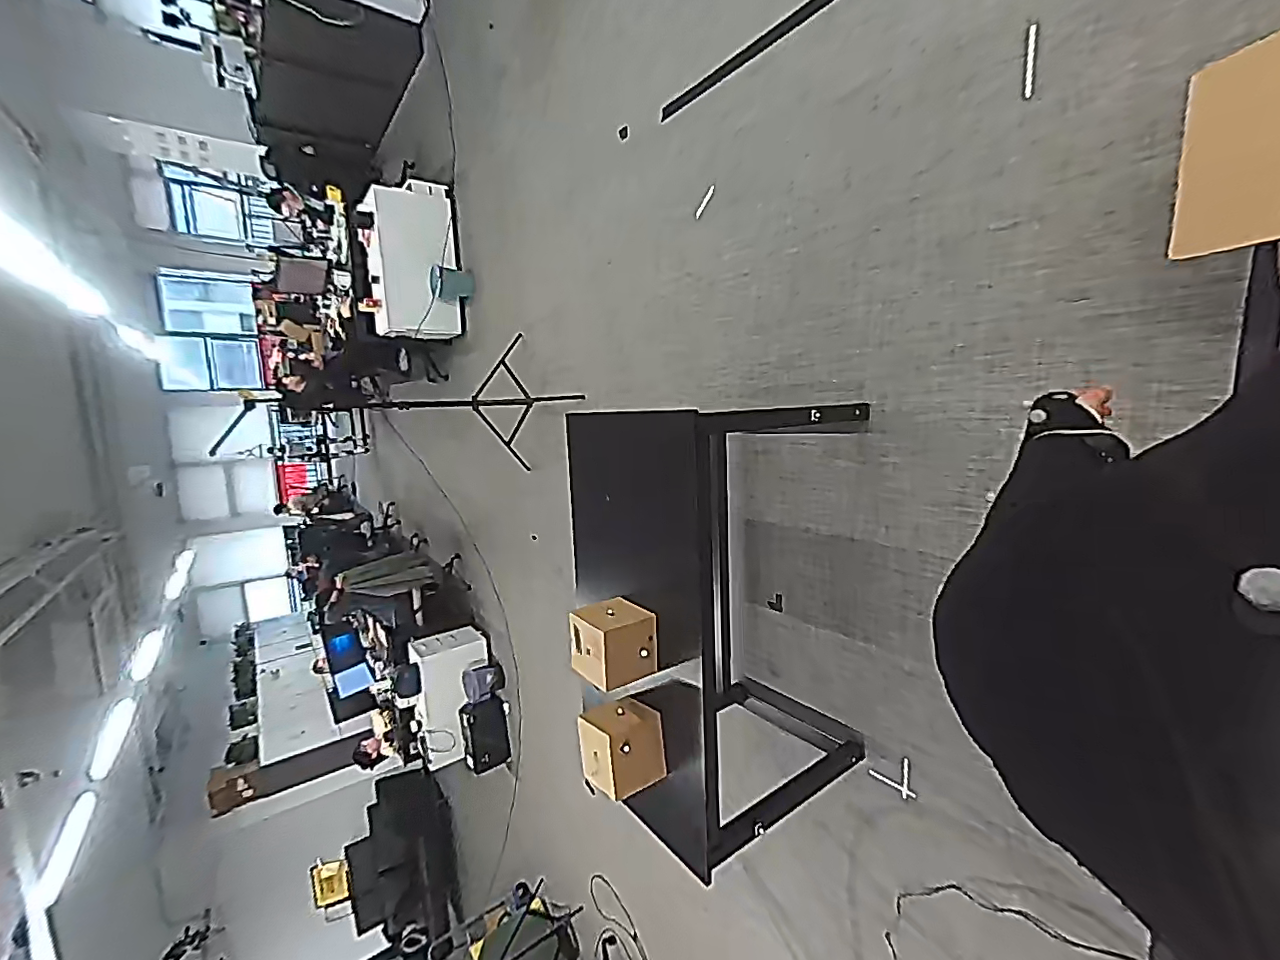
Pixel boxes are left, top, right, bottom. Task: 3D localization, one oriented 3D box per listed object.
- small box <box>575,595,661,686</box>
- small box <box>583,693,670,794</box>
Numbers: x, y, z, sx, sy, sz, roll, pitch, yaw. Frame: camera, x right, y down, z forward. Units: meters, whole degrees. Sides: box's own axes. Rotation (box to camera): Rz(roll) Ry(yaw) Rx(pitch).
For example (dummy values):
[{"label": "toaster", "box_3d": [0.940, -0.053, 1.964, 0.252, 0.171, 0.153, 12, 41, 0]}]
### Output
[{"label": "small box", "box_3d": [-0.059, 0.423, 1.461, 0.179, 0.176, 0.168, 10, 105, 53]}, {"label": "small box", "box_3d": [-0.035, 0.711, 1.486, 0.168, 0.176, 0.179, -4, 94, 55]}]
